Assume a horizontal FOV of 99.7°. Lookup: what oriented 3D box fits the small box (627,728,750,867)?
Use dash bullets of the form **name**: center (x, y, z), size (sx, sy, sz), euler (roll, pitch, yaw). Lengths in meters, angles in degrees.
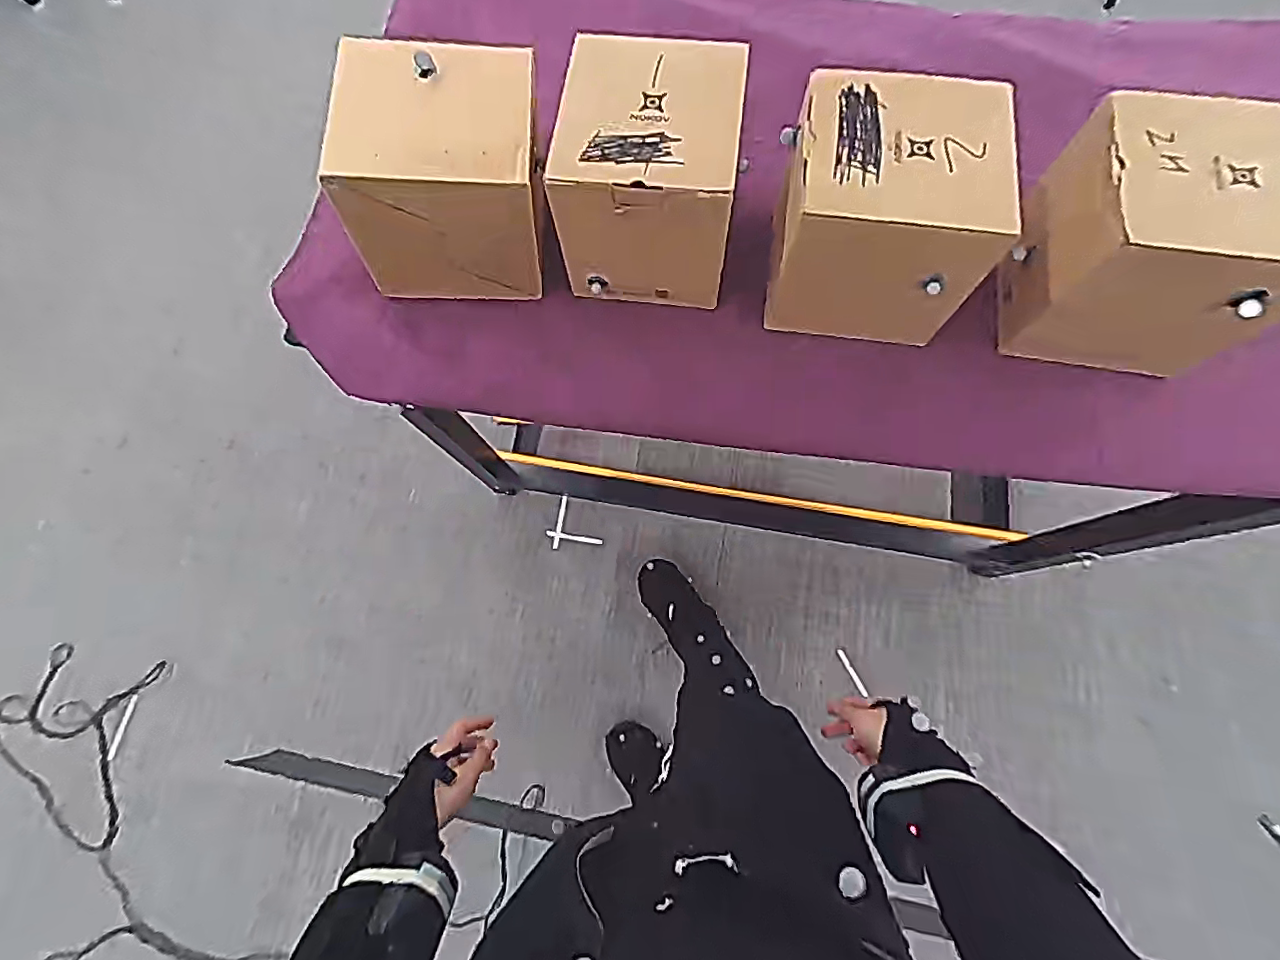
- **small box**: center (0.088, 0.604, 1.042), size (0.179, 0.176, 0.168), euler (-31, 72, -9)
